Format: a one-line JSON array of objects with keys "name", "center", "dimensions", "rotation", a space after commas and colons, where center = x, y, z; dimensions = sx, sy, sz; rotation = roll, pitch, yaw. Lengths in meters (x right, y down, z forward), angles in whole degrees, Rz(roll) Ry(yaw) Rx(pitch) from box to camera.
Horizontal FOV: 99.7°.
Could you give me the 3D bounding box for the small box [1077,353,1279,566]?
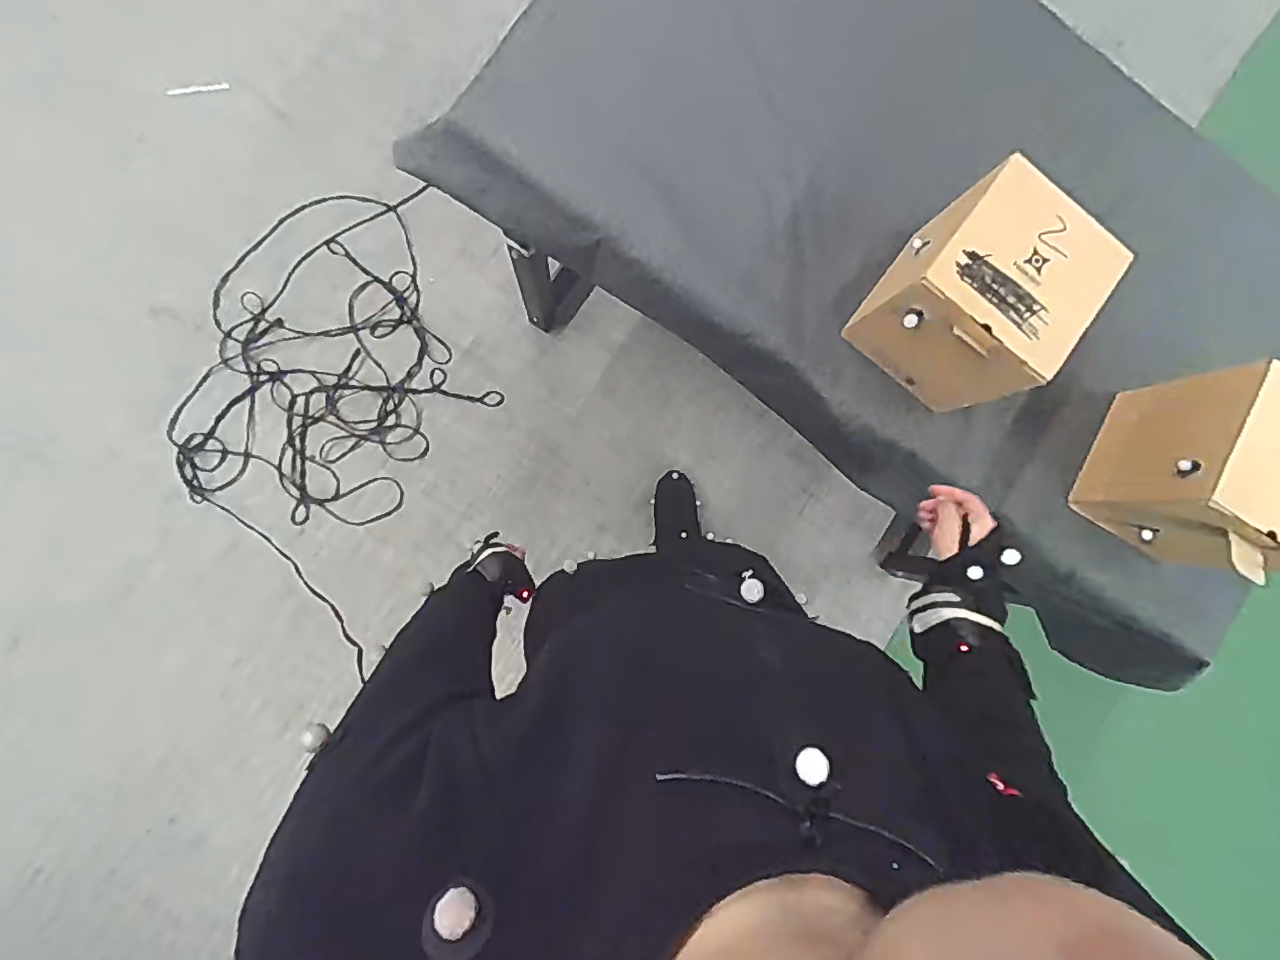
[{"name": "small box", "center": [0.679, -0.017, 0.640], "dimensions": [0.168, 0.176, 0.179], "rotation": [29, 85, -4]}]
